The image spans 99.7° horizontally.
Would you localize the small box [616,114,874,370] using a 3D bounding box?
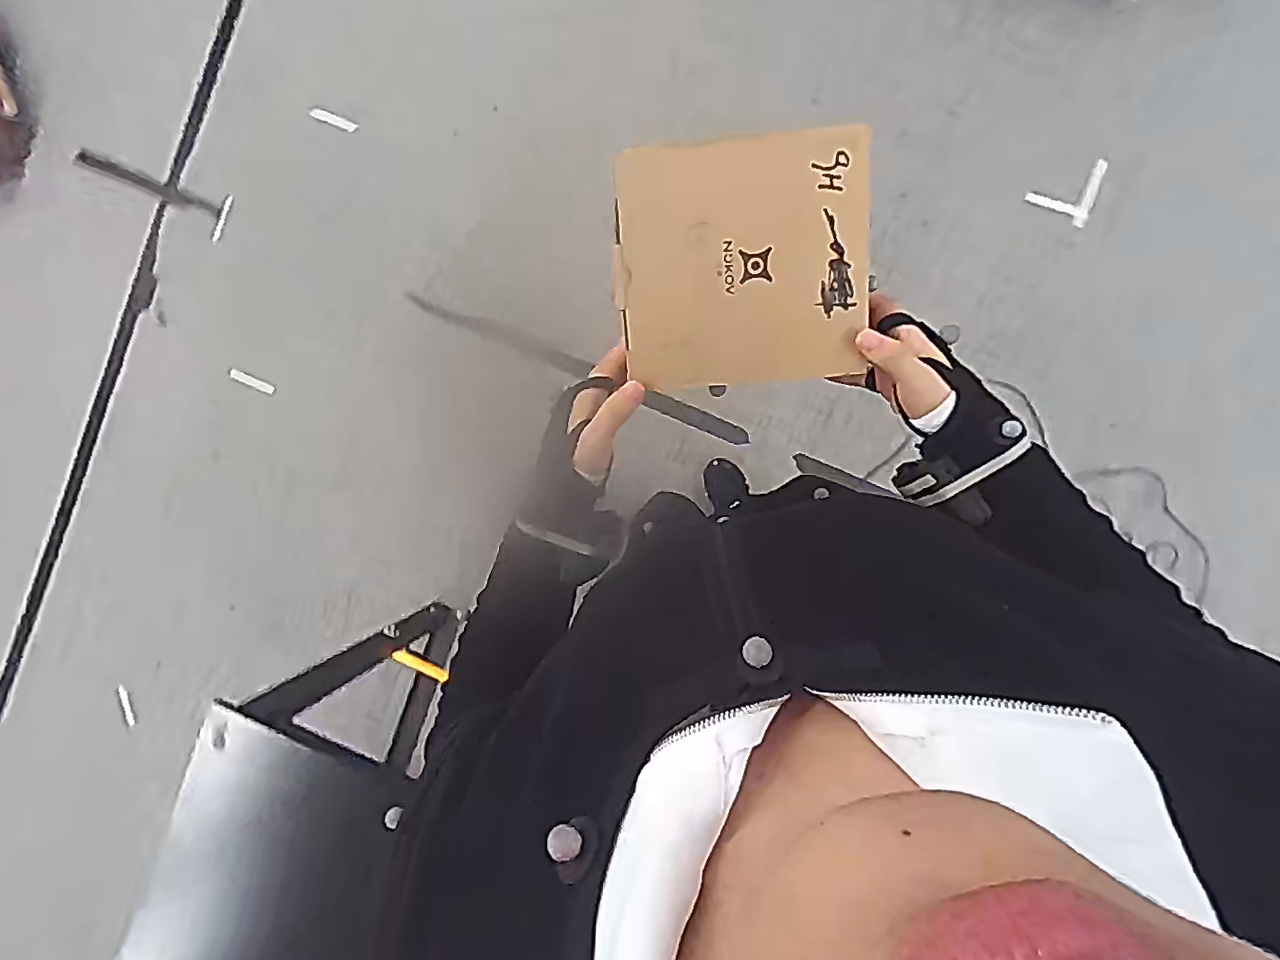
[{"bbox_3d":[0.079,-0.180,0.462,0.179,0.176,0.168,-2,103,4],"label":"small box"}]
